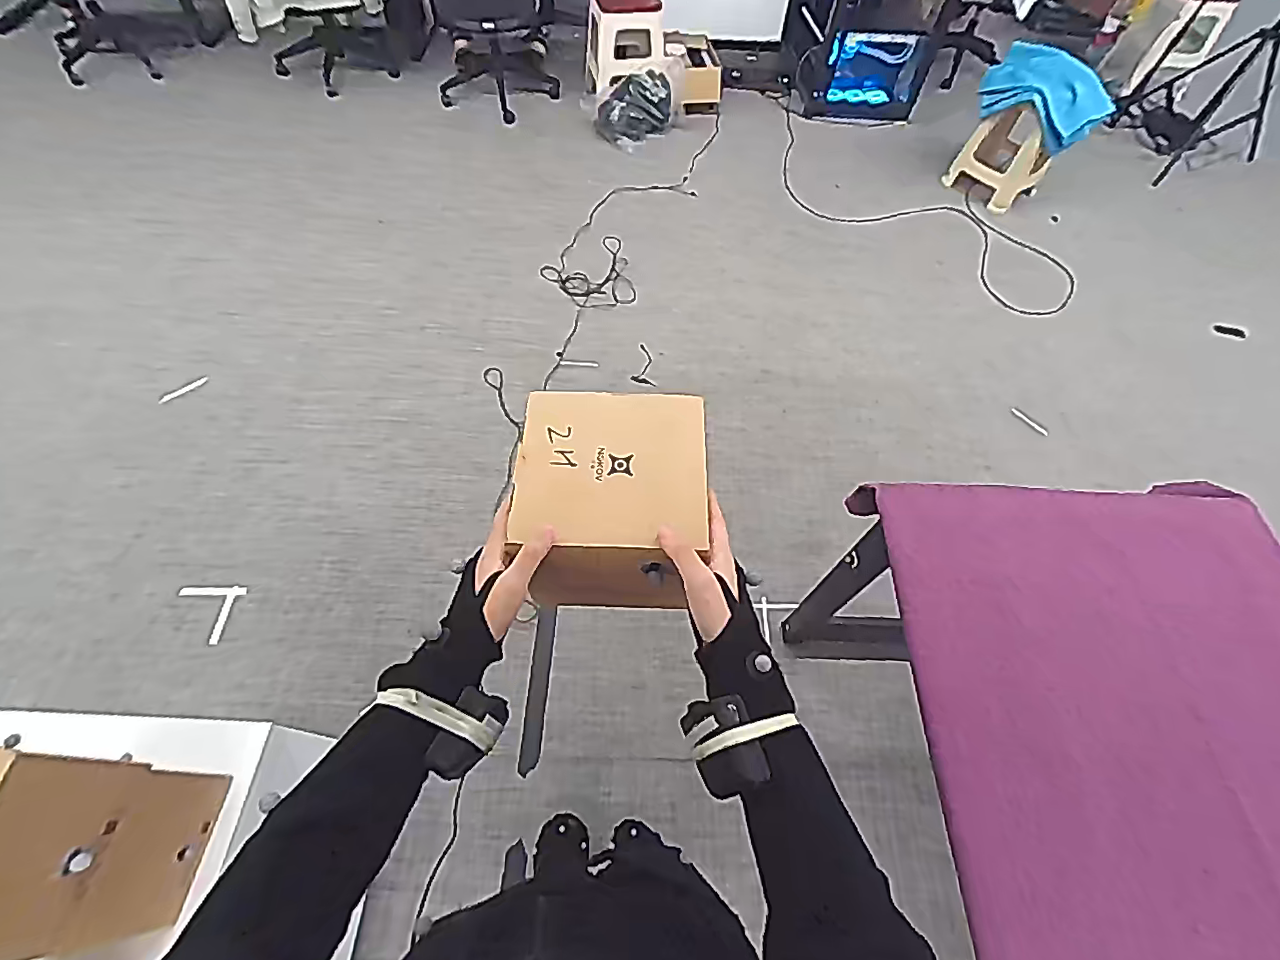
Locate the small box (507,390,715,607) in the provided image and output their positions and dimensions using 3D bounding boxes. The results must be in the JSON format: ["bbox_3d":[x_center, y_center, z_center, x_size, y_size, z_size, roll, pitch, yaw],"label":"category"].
[{"bbox_3d":[-0.023,0.027,0.557,0.179,0.176,0.168,1,60,1],"label":"small box"}]

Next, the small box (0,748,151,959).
[{"bbox_3d":[-0.629,0.339,0.496,0.179,0.176,0.168,5,59,-1],"label":"small box"}]
